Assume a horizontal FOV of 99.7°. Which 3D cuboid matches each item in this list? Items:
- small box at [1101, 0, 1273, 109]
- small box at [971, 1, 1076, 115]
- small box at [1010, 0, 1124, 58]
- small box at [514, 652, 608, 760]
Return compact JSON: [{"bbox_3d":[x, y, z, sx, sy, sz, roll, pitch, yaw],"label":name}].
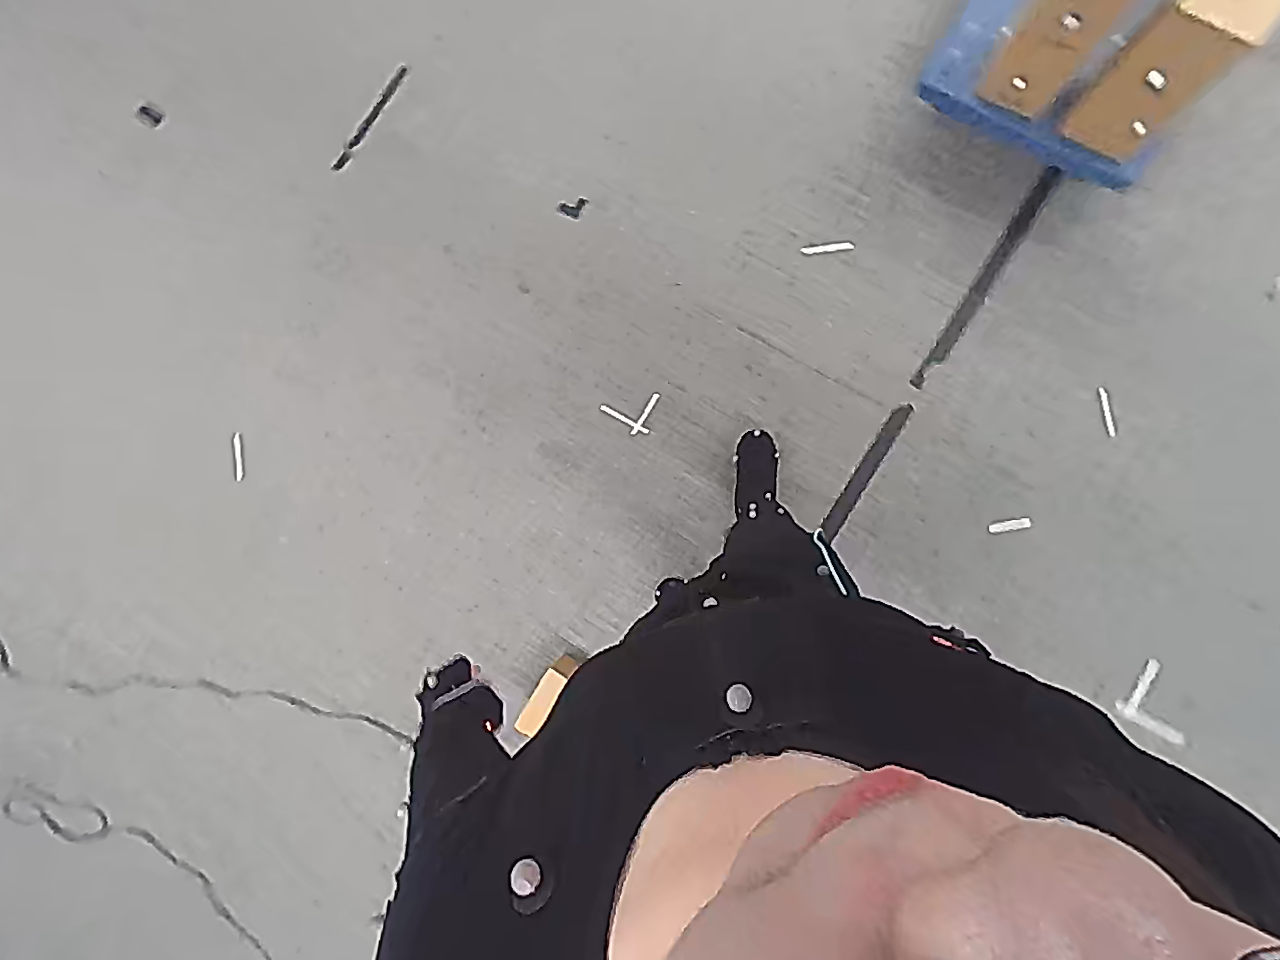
[{"bbox_3d":[1.084,-0.901,1.073,0.168,0.176,0.179,33,89,6],"label":"small box"},{"bbox_3d":[0.915,-1.008,1.260,0.168,0.176,0.179,30,88,5],"label":"small box"},{"bbox_3d":[0.899,-1.020,1.097,0.168,0.176,0.179,28,89,6],"label":"small box"},{"bbox_3d":[-0.197,0.586,1.425,0.168,0.176,0.179,32,88,6],"label":"small box"}]
